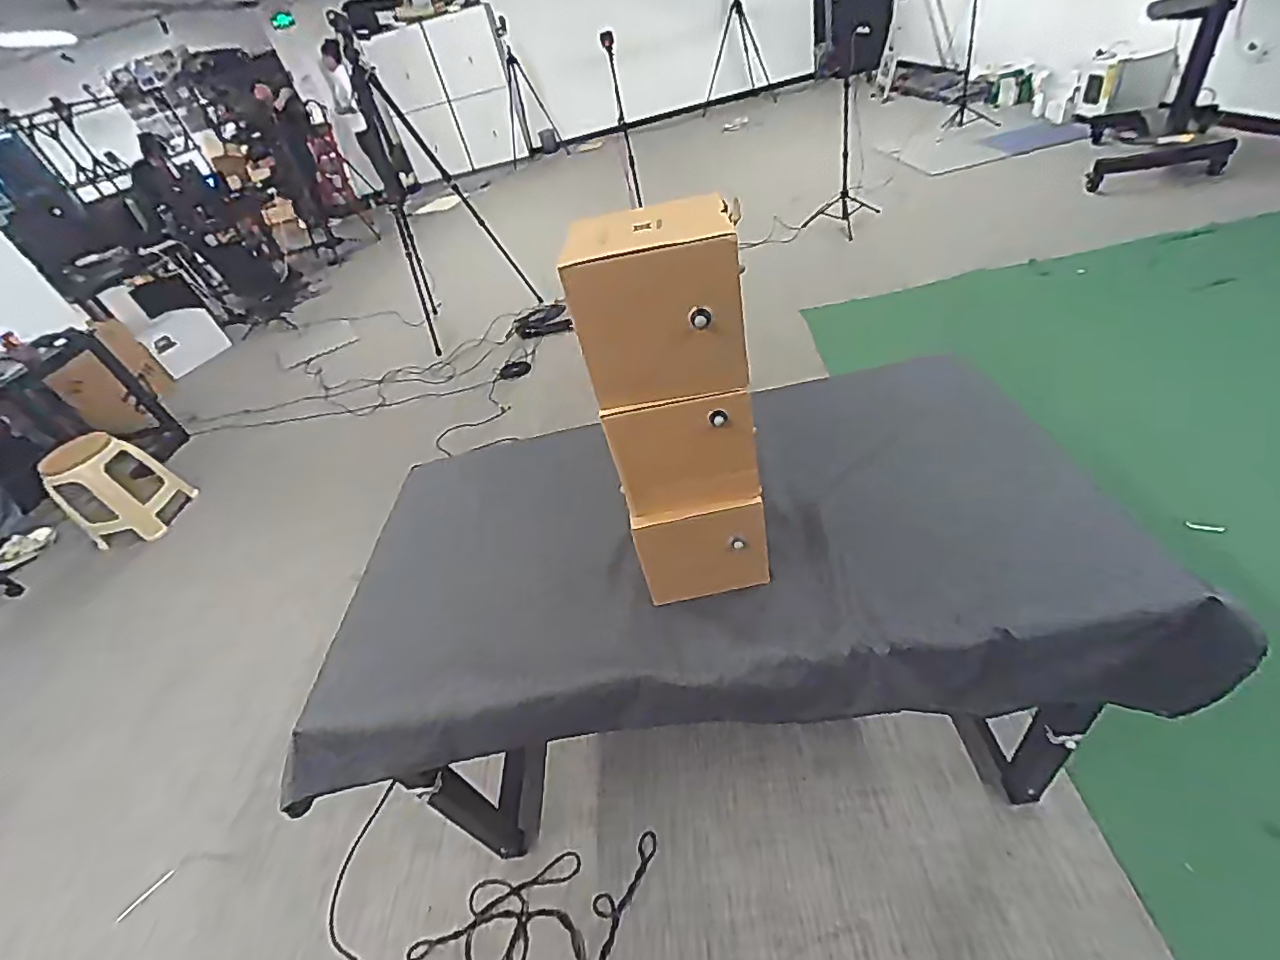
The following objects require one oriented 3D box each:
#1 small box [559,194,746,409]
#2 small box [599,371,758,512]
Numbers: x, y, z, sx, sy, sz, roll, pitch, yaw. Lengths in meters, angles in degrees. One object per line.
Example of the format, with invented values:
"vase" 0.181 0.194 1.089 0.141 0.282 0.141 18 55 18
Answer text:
"small box" 0.024 -0.202 0.619 0.179 0.176 0.168 -9 38 8
"small box" 0.052 -0.075 0.718 0.179 0.176 0.168 -10 39 6
